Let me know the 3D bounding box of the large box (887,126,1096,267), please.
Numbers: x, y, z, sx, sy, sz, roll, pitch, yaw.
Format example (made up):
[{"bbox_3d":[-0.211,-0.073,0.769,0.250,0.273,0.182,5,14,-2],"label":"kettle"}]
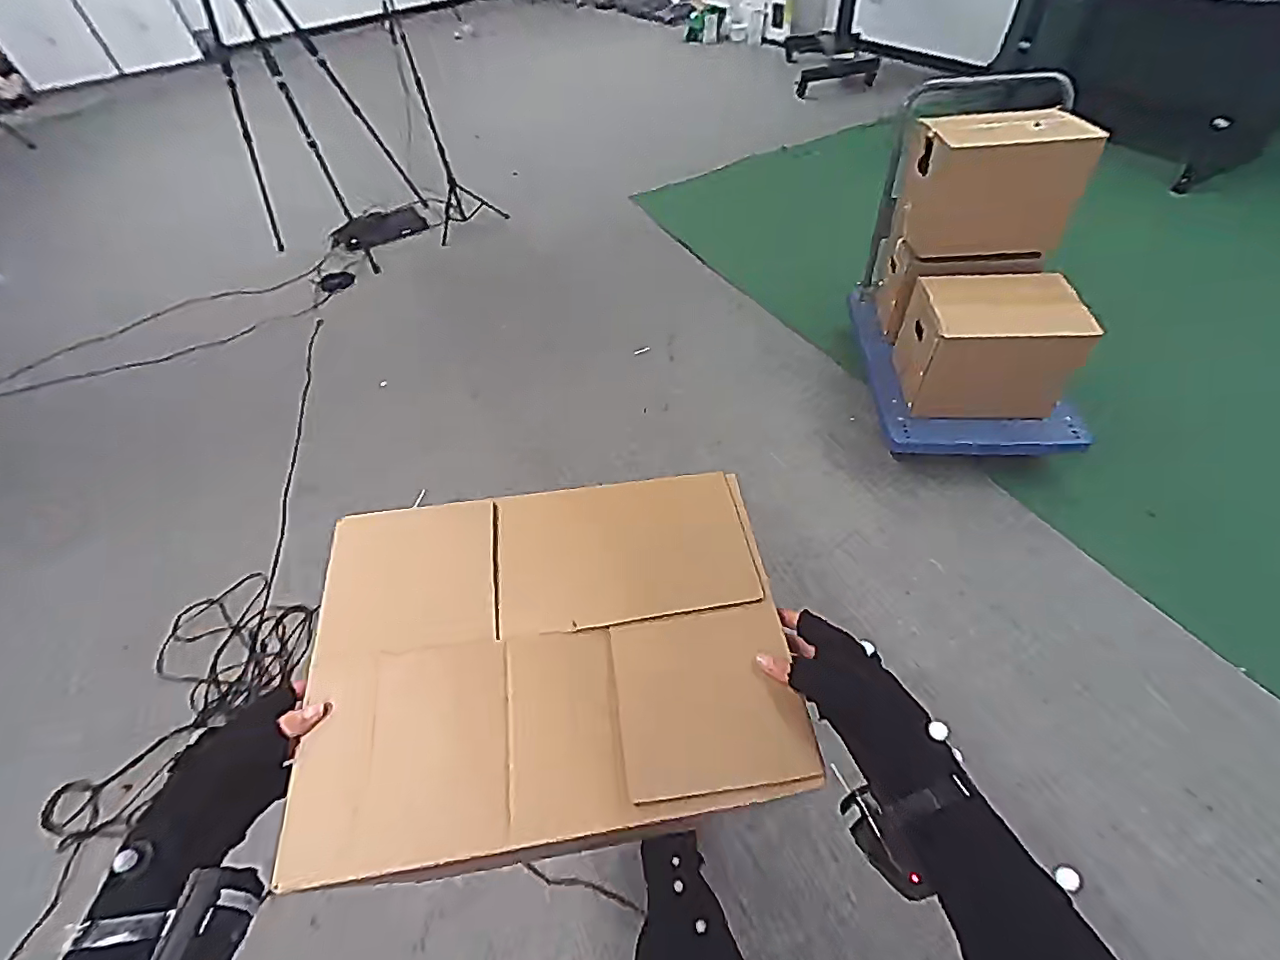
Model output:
[{"bbox_3d":[1.045,-0.875,1.673,0.408,0.320,0.320,0,45,5],"label":"large box"}]
